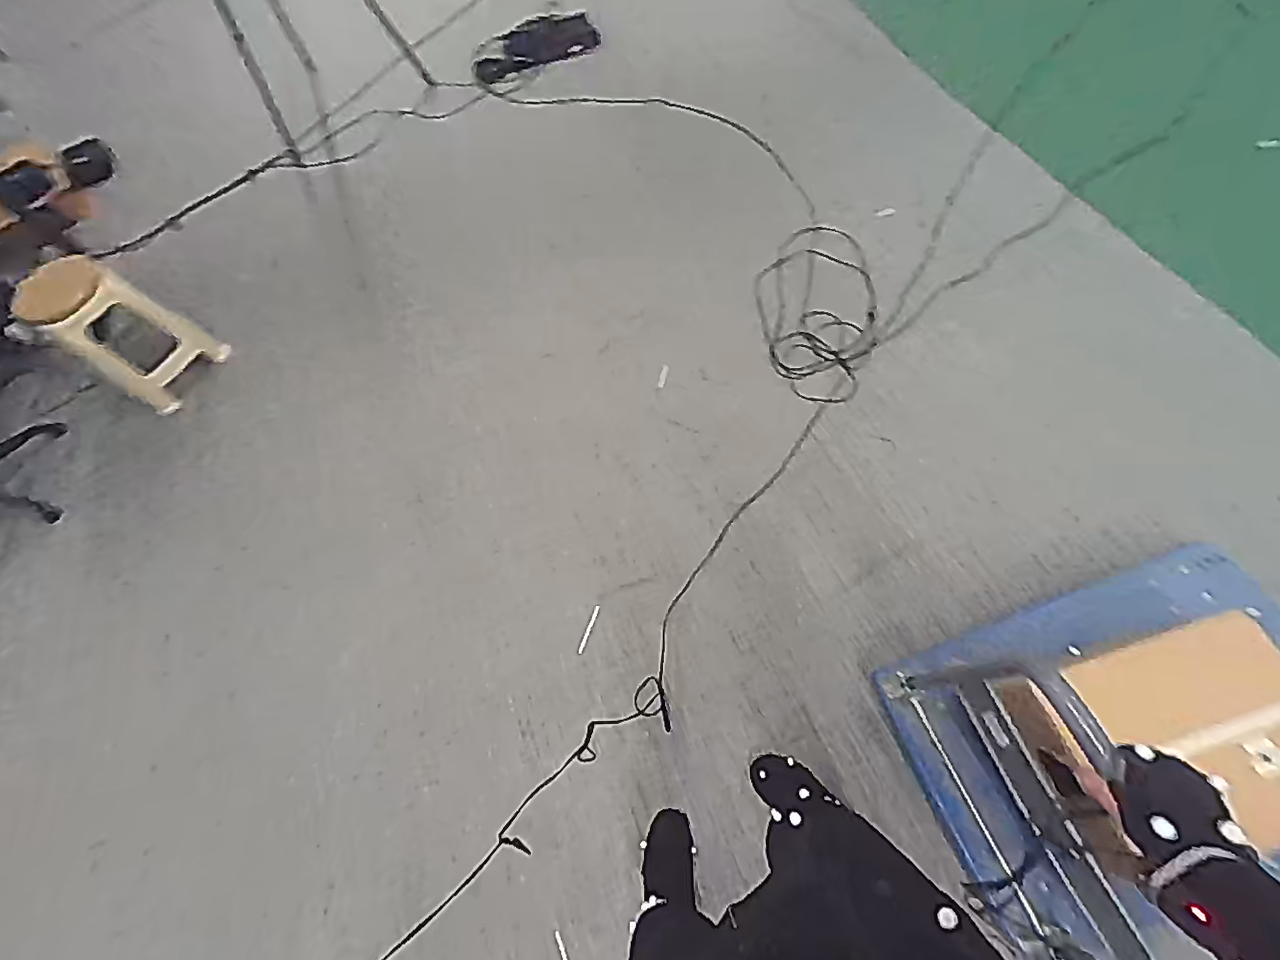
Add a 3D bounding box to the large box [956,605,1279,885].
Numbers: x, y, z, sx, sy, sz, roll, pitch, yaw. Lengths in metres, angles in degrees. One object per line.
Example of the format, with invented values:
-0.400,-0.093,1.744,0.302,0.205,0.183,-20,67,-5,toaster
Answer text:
0.910,0.476,1.010,0.408,0.320,0.320,-19,65,-1,large box
